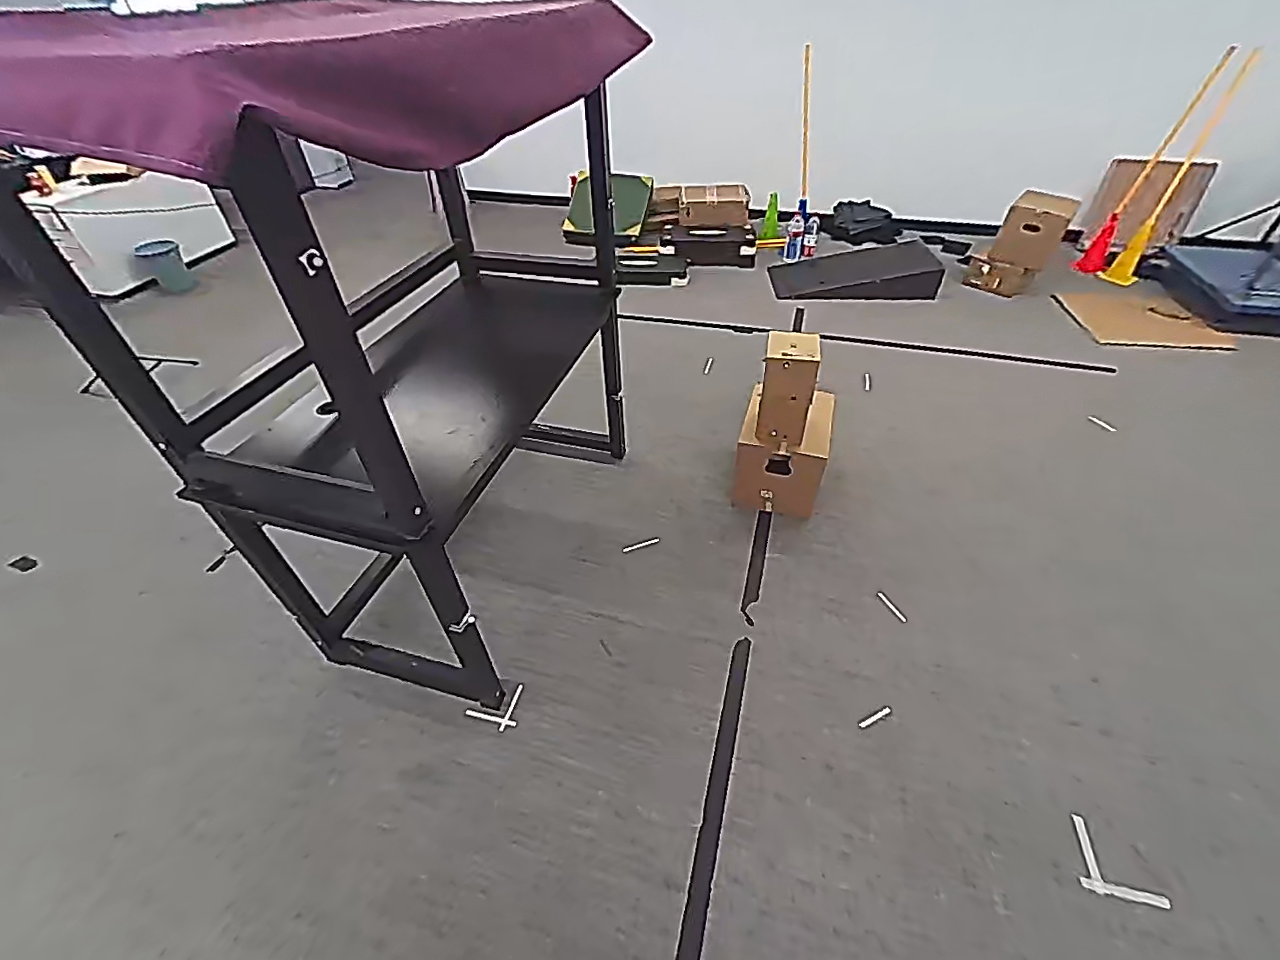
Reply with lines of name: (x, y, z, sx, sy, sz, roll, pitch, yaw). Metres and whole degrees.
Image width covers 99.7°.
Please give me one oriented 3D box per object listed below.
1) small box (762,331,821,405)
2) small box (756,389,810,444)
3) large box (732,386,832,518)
small box: (0.500, -0.372, 1.788, 0.168, 0.176, 0.179, 7, 43, 12)
small box: (0.506, -0.253, 1.901, 0.168, 0.176, 0.179, 10, 45, 14)
large box: (0.552, -0.114, 2.109, 0.320, 0.320, 0.408, 12, 44, 13)
